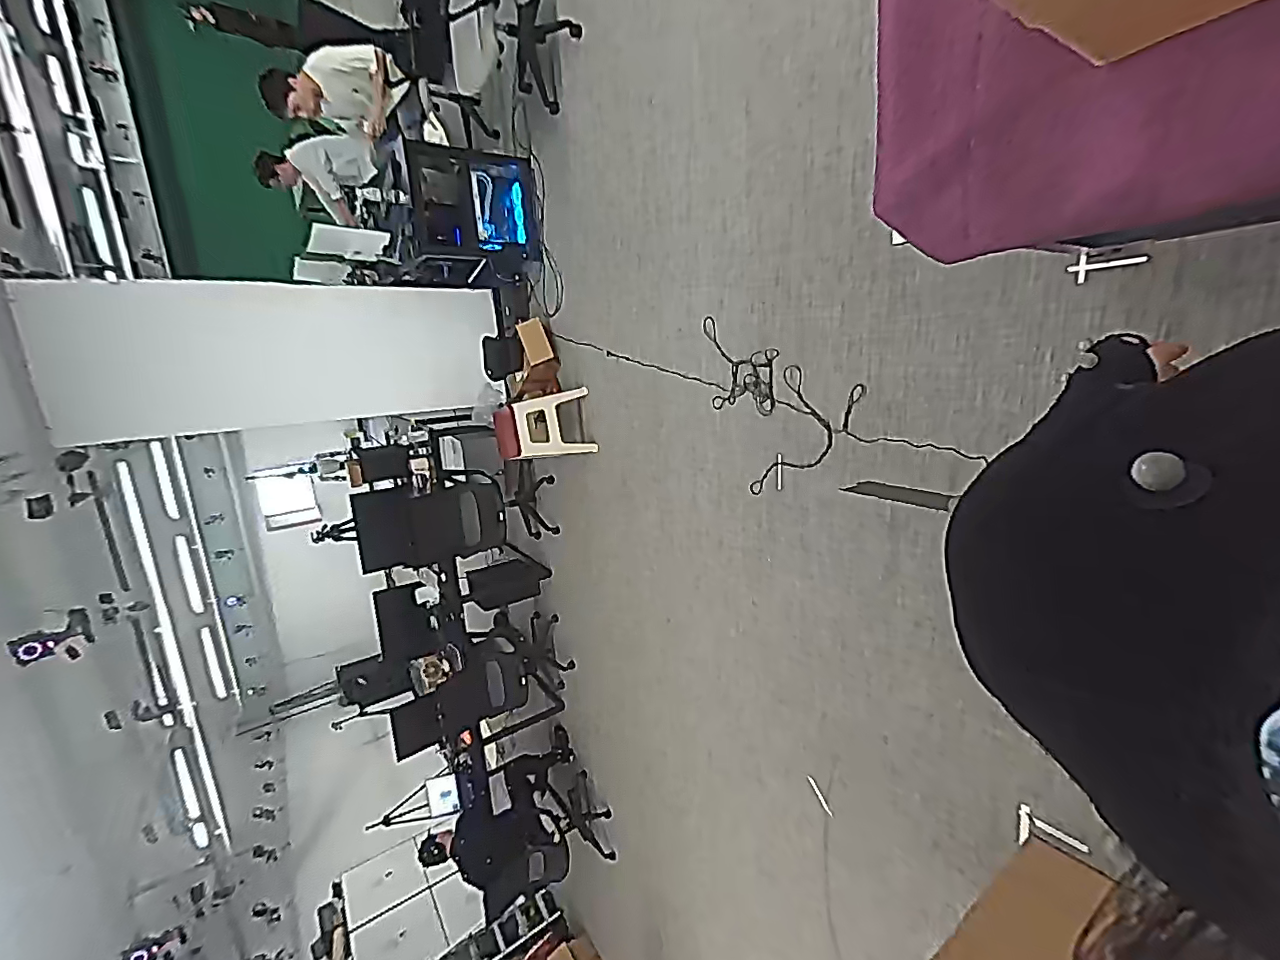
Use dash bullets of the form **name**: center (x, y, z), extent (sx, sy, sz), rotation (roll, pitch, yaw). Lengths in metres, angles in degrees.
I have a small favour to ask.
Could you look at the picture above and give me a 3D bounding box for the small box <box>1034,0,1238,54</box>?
- **small box**: center (0.476, -0.515, 0.465), extent (0.179, 0.176, 0.168), rotation (9, 108, 55)
